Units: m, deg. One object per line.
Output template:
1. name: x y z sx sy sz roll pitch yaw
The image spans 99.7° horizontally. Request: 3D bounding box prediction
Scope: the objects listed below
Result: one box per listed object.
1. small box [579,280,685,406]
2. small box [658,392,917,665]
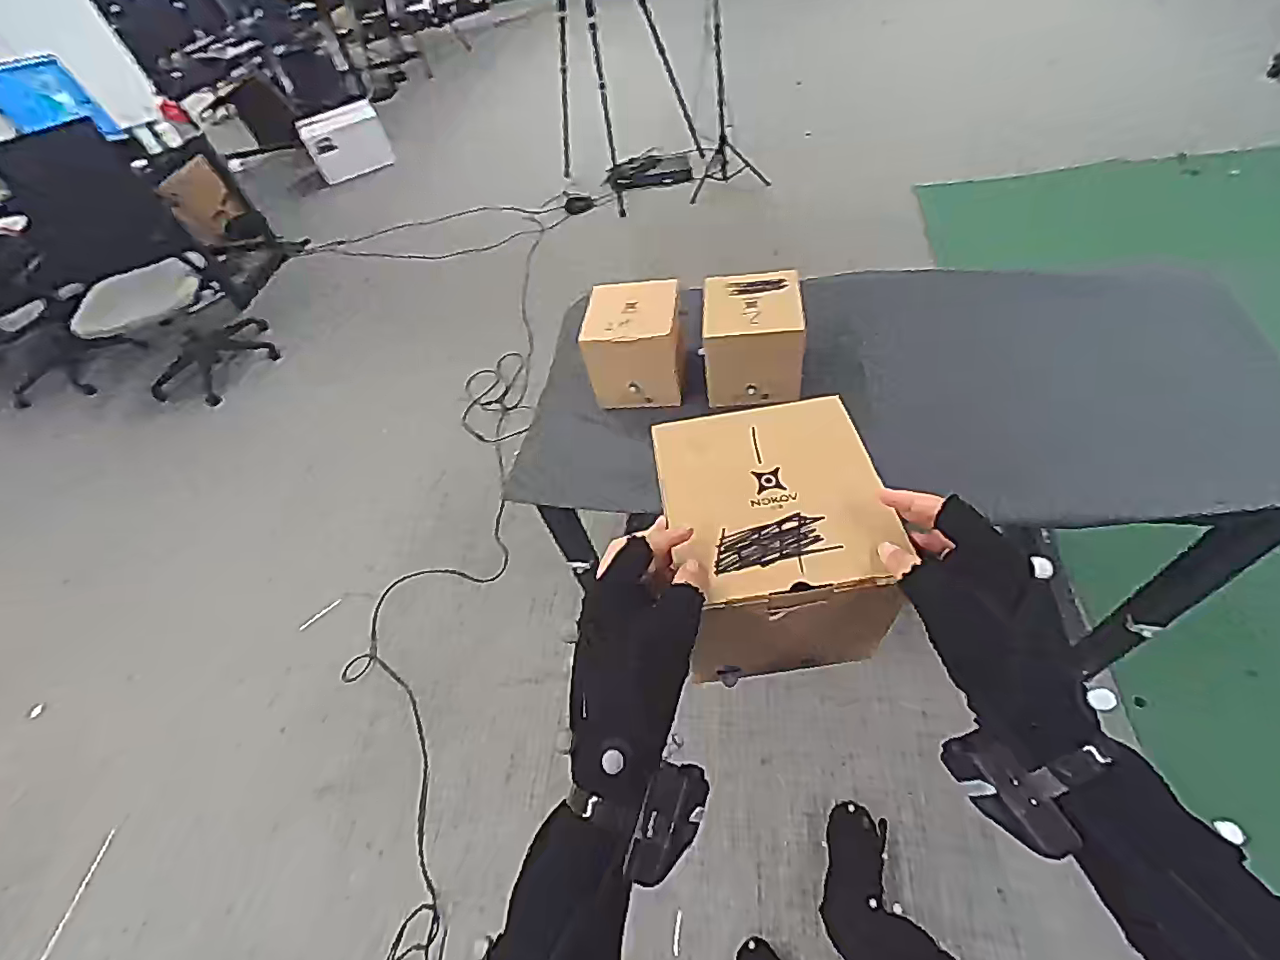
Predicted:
1. small box: -0.005 -0.263 1.050 0.168 0.176 0.179 0 52 12
2. small box: 0.113 0.052 0.482 0.168 0.176 0.179 -9 51 3
